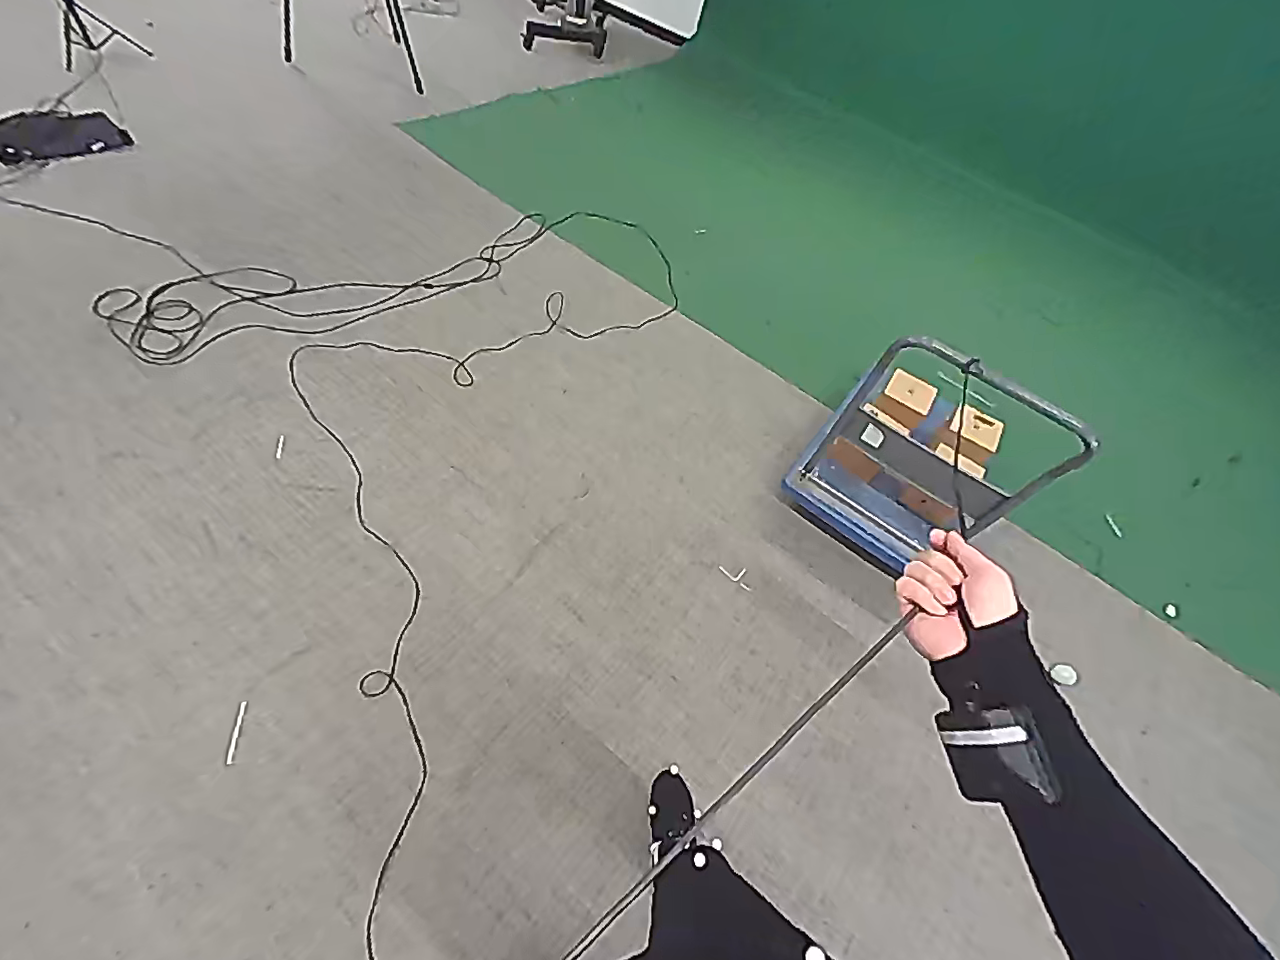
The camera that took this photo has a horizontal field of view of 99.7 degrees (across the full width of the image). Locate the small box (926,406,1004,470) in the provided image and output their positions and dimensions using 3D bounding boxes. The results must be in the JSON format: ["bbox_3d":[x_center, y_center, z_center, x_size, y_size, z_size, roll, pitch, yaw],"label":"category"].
[{"bbox_3d":[1.181,-0.130,1.974,0.168,0.176,0.179,33,56,13],"label":"small box"}]

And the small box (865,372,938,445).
[{"bbox_3d":[0.975,-0.264,2.029,0.168,0.176,0.179,34,55,12],"label":"small box"}]

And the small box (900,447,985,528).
[{"bbox_3d":[1.016,0.027,1.829,0.168,0.176,0.179,37,57,15],"label":"small box"}]
